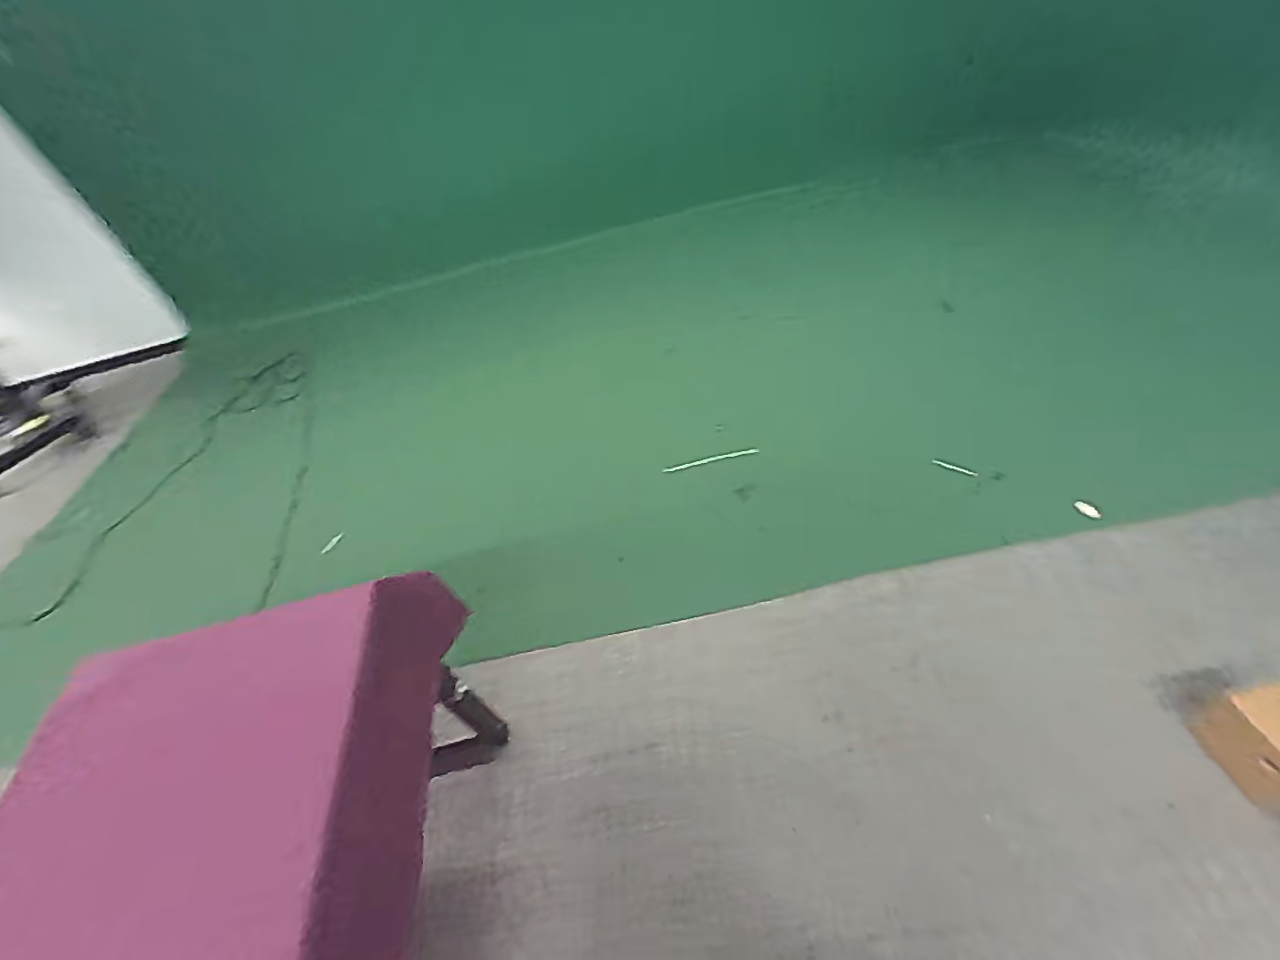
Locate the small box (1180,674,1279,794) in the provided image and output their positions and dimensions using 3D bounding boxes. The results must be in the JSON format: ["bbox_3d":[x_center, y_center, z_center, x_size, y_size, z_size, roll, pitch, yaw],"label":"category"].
[{"bbox_3d":[1.305,0.529,1.119,0.168,0.176,0.179,-14,46,2],"label":"small box"}]
